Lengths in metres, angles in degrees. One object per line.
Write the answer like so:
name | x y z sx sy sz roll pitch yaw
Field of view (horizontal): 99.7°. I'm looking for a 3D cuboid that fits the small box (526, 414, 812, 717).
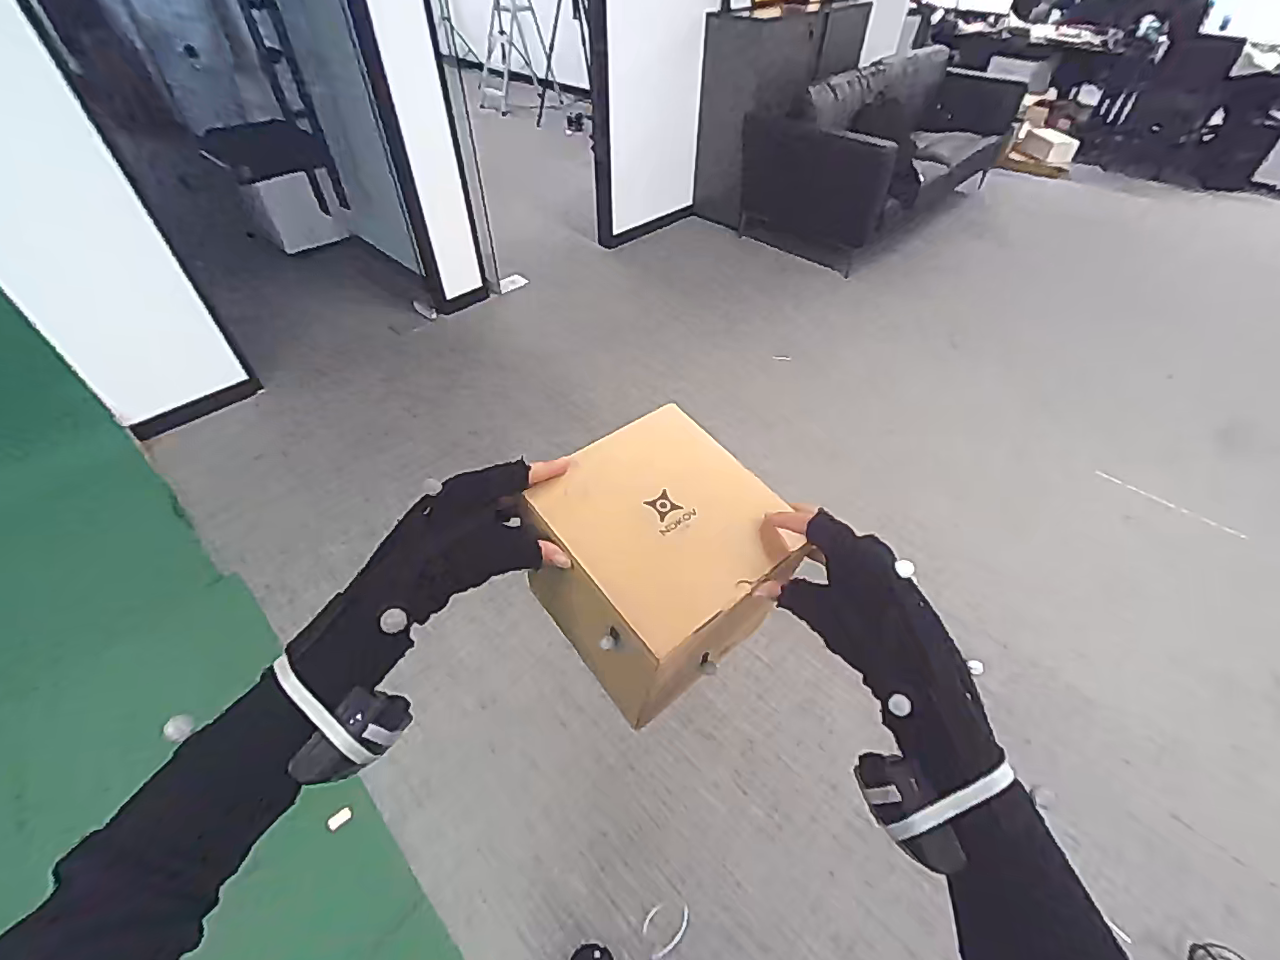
small box | 0.013 0.078 0.490 0.168 0.176 0.179 -30 62 -27
